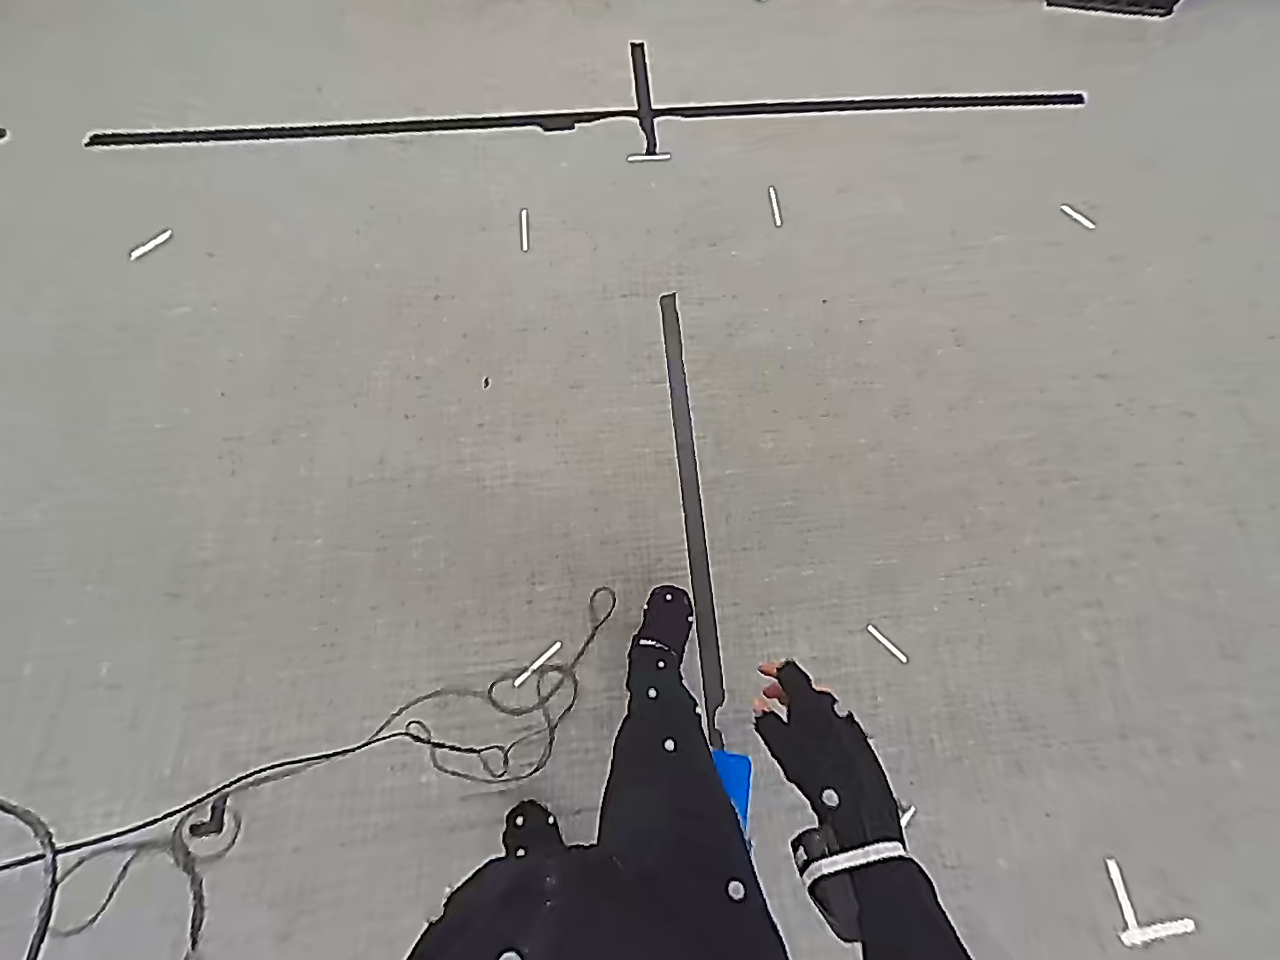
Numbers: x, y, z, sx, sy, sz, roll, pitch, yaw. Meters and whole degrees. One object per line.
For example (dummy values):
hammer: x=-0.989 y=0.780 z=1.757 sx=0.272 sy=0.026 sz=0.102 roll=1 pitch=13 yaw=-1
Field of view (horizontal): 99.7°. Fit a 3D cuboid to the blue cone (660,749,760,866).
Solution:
blue cone: x=0.156 y=0.667 z=1.059 sx=0.192 sy=0.380 sz=0.193 roll=12 pitch=72 yaw=0
